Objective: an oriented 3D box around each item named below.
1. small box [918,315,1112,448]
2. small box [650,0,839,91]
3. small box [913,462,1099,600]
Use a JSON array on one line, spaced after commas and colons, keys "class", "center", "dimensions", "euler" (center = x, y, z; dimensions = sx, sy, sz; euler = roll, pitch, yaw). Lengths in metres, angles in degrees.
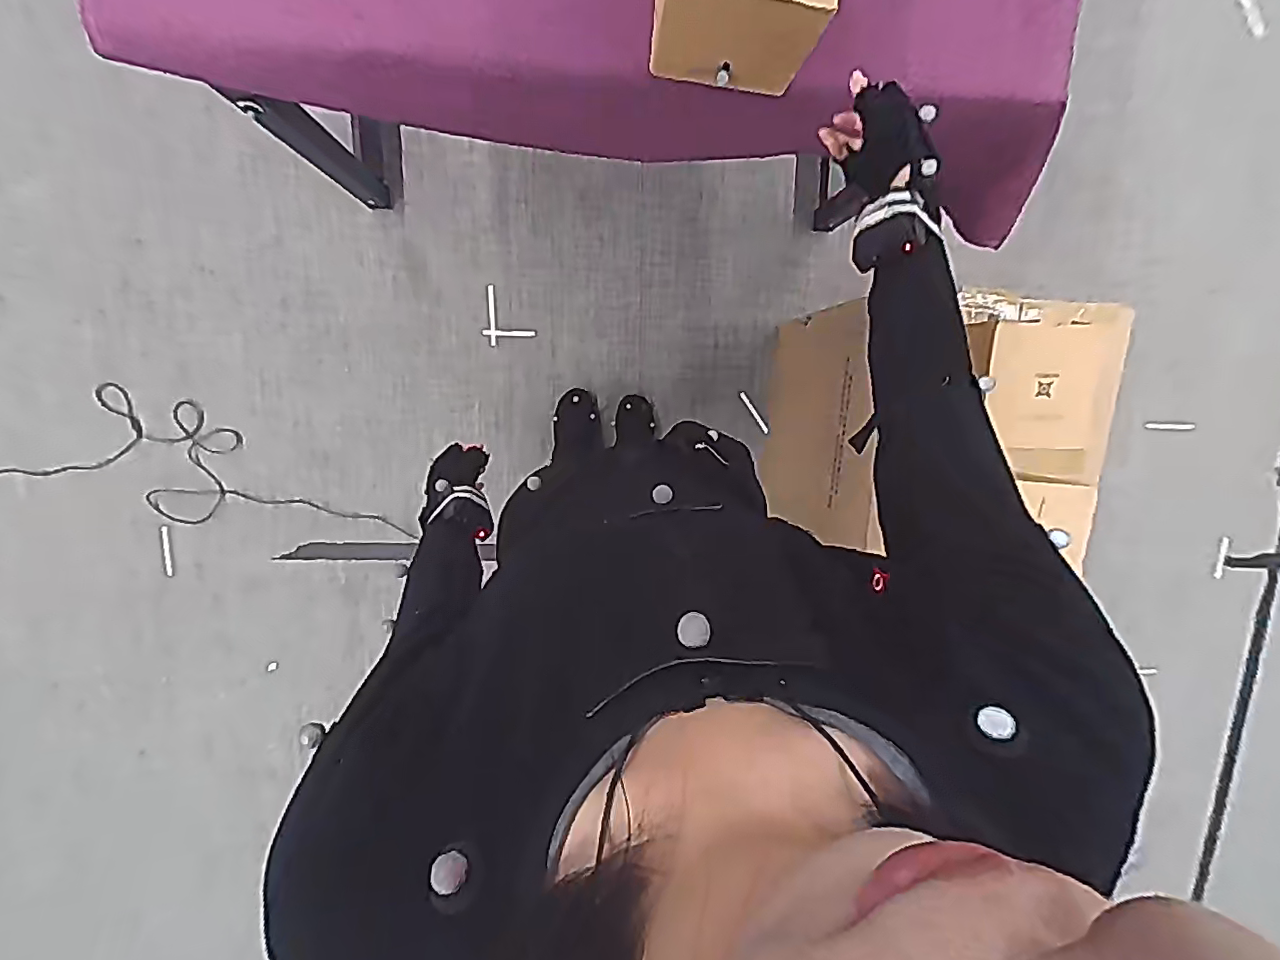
[{"class": "small box", "center": [0.549, -0.146, 0.817], "dimensions": [0.168, 0.176, 0.179], "euler": [1, 101, -3]}, {"class": "small box", "center": [0.114, -0.573, 0.602], "dimensions": [0.179, 0.176, 0.168], "euler": [5, 99, -6]}, {"class": "small box", "center": [0.561, 0.073, 0.855], "dimensions": [0.168, 0.176, 0.179], "euler": [5, 98, -5]}]
